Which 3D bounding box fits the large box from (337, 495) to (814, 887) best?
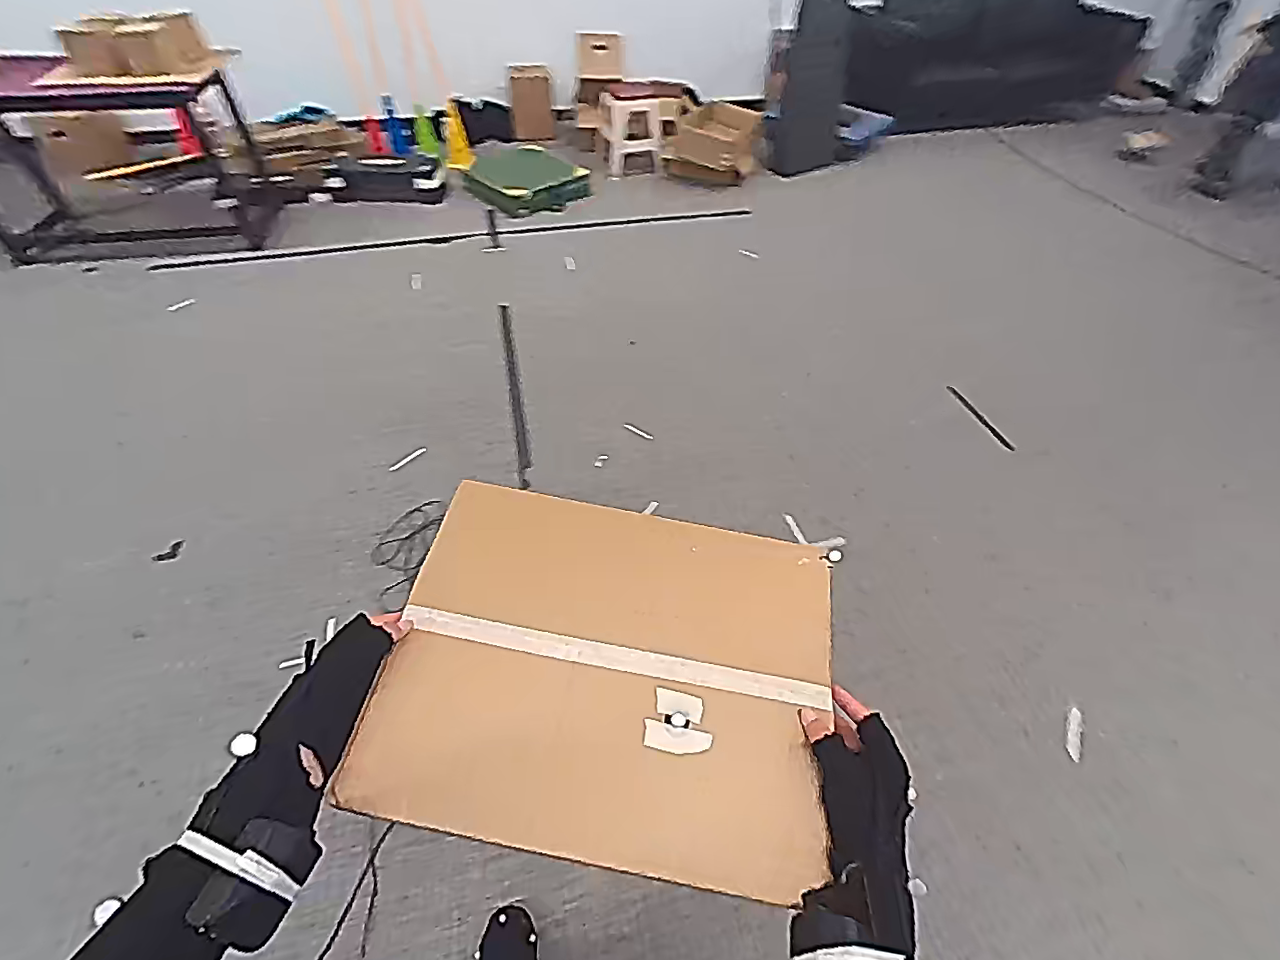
[{"bbox_3d":[-0.046,0.253,0.644,0.408,0.320,0.320,10,57,1],"label":"large box"}]
